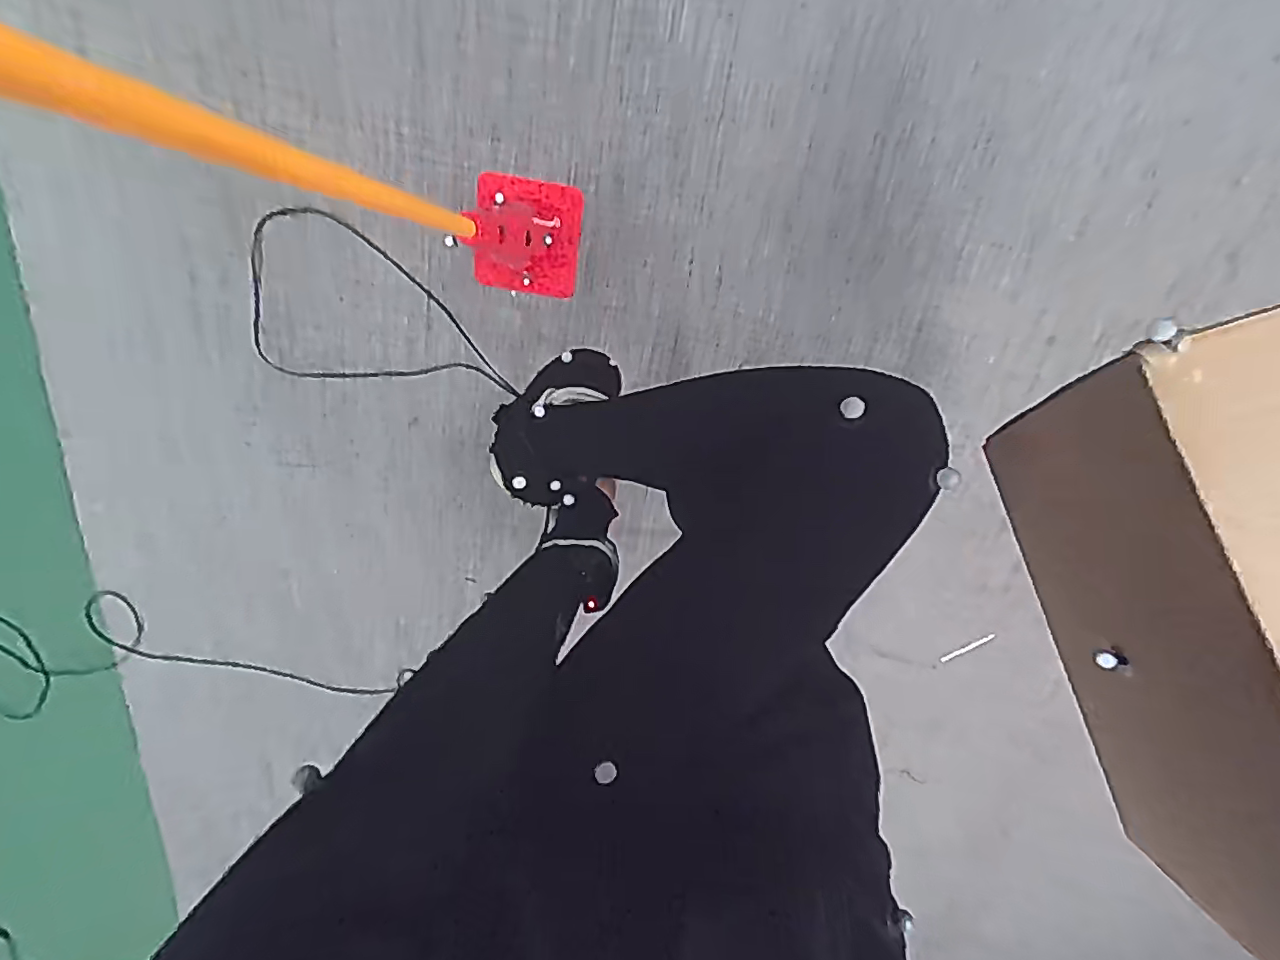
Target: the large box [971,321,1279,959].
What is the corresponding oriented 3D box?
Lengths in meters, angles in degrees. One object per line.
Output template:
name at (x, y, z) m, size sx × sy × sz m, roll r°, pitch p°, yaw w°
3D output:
large box at (0.501, 0.102, 0.383) m, size 0.320 × 0.320 × 0.408 m, roll -16°, pitch 79°, yaw 15°
